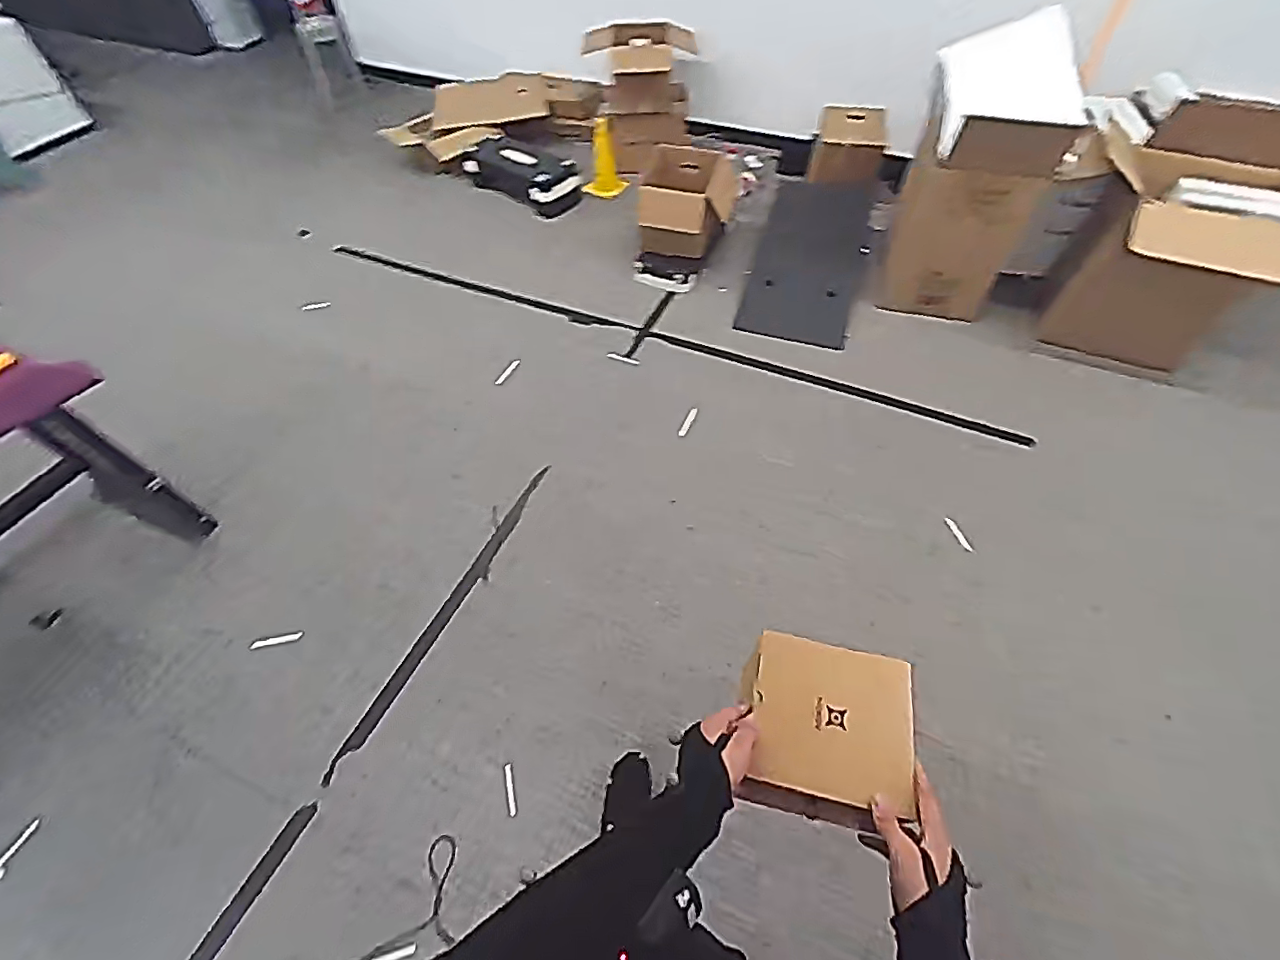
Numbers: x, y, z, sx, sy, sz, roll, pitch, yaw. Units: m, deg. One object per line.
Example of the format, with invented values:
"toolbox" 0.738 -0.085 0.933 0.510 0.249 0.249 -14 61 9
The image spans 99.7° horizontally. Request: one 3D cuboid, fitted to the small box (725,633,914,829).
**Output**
"small box" 0.205 0.306 0.652 0.179 0.176 0.168 9 55 10
